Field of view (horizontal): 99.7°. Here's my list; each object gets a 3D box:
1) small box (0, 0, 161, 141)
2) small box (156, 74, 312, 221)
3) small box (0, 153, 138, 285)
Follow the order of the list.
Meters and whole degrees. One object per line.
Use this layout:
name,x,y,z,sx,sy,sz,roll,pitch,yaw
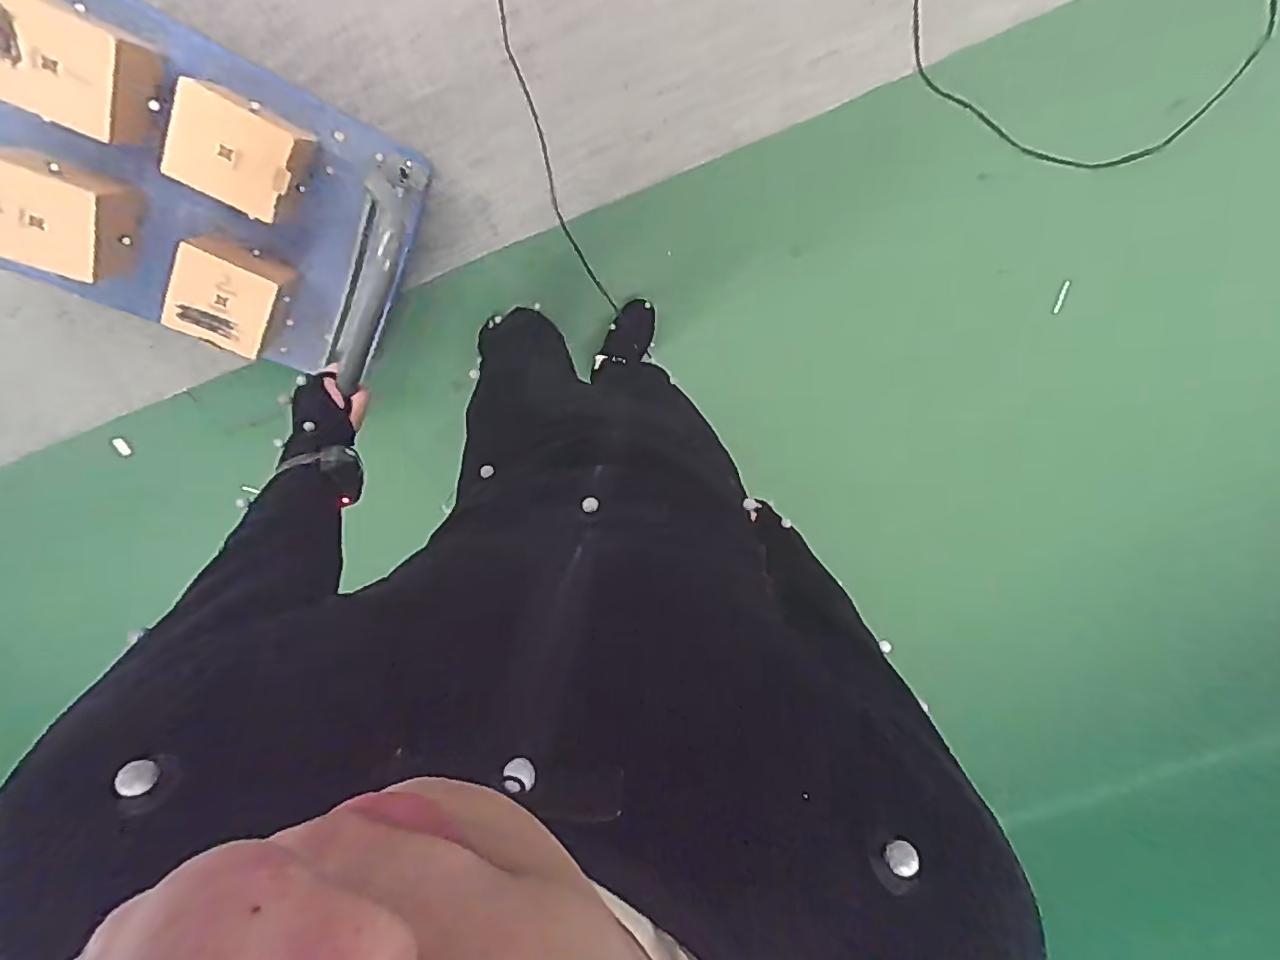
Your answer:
small box,-0.964,-0.696,0.912,0.179,0.176,0.168,17,114,-25
small box,-0.755,-0.617,1.022,0.179,0.176,0.168,20,112,-27
small box,-1.080,-0.487,1.001,0.179,0.176,0.168,15,113,-24
